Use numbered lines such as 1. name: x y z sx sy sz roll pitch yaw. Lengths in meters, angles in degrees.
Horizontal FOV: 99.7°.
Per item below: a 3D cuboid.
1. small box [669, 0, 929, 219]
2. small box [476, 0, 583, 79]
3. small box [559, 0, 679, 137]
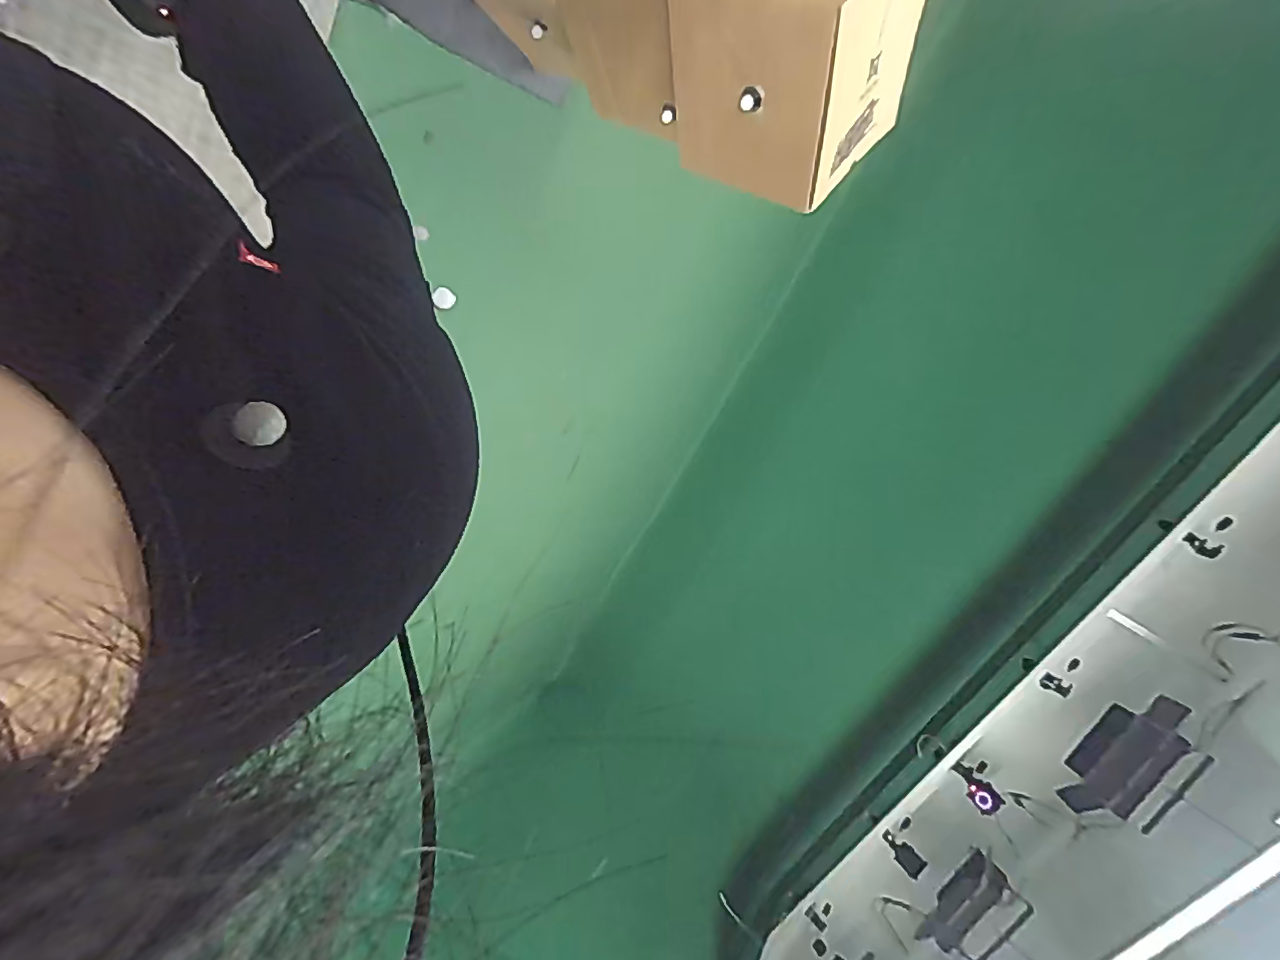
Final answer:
1. small box: 0.145 -0.399 0.522 0.168 0.176 0.179 -48 156 -16
2. small box: -0.084 -0.607 0.639 0.168 0.176 0.179 -61 155 13
3. small box: 0.033 -0.506 0.582 0.168 0.176 0.179 -53 157 -6
